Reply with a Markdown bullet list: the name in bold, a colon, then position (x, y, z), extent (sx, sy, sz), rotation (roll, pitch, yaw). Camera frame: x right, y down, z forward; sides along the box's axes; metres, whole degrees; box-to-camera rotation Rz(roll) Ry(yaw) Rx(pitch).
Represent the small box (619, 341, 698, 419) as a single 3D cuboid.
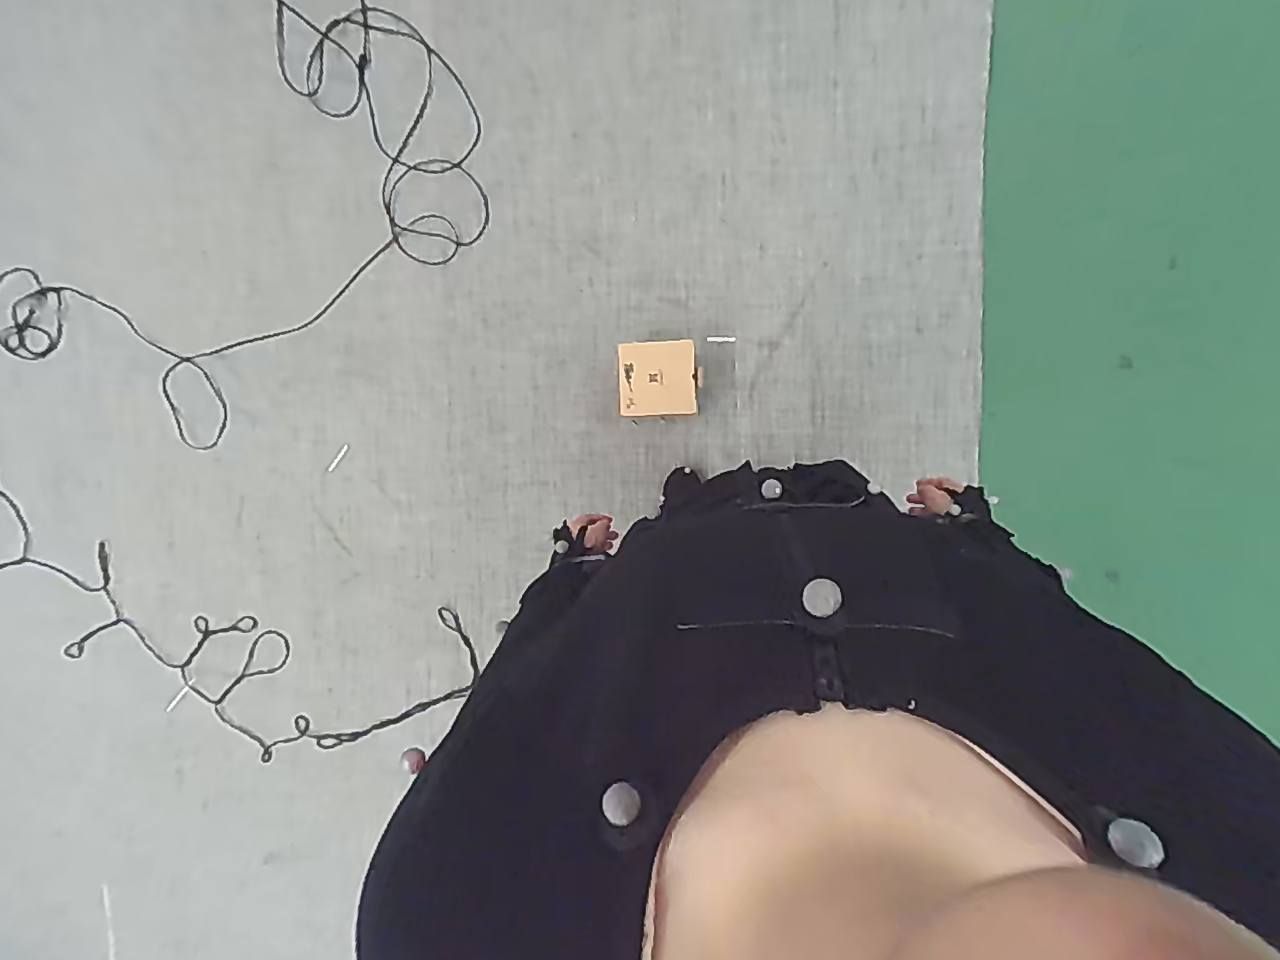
- **small box**: position (0.049, -0.235, 1.296), extent (0.179, 0.176, 0.168), rotation (-2, 94, 7)
